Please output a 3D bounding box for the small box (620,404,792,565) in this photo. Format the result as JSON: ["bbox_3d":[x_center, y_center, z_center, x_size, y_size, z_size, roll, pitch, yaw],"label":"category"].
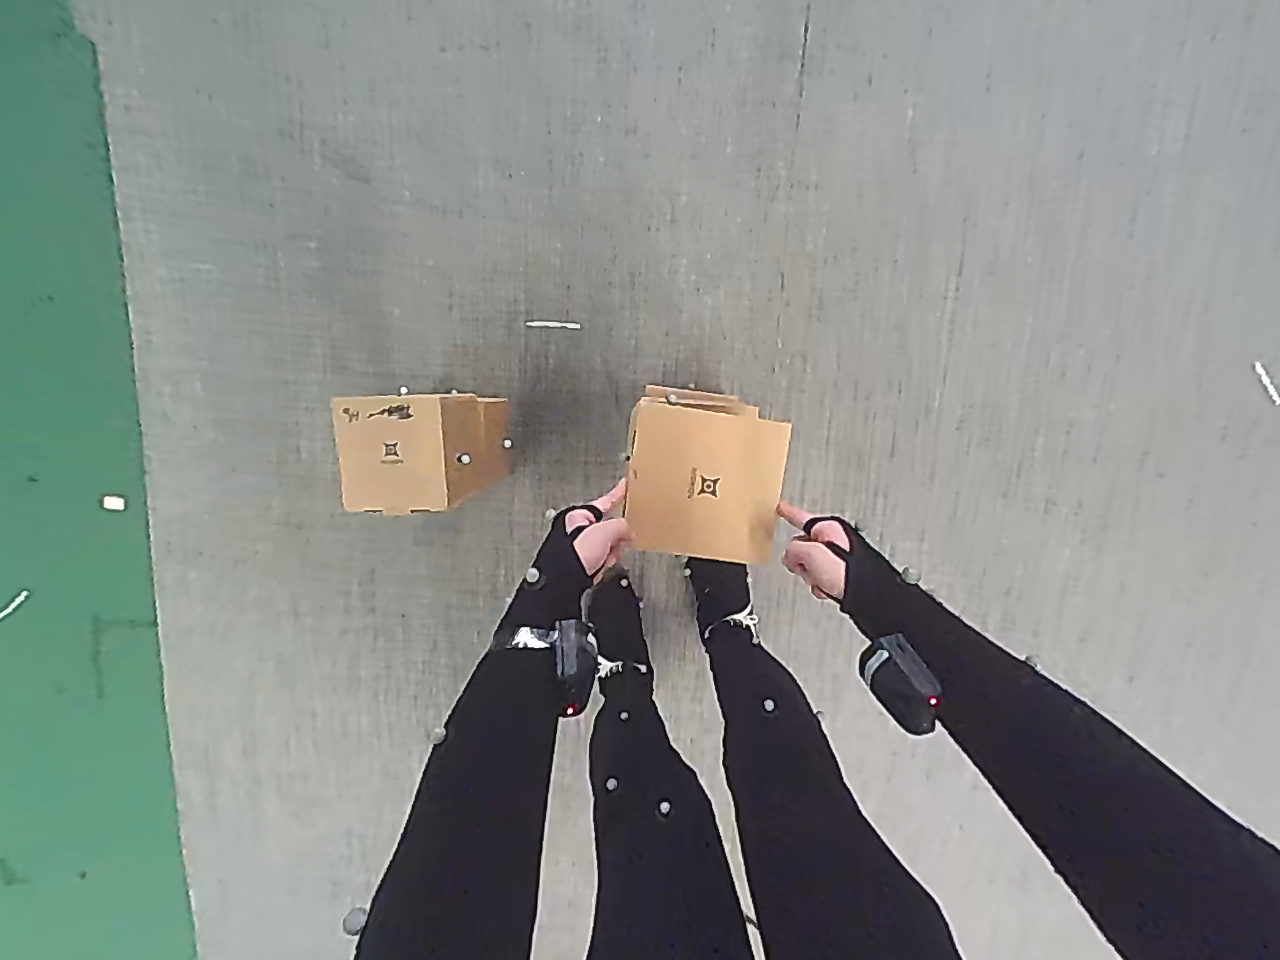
[{"bbox_3d":[0.072,-0.001,0.685,0.179,0.176,0.168,7,94,-2],"label":"small box"}]

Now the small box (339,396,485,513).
[{"bbox_3d":[-0.364,-0.049,0.896,0.168,0.176,0.179,-1,100,1],"label":"small box"}]

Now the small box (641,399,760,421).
[{"bbox_3d":[0.086,-0.044,0.883,0.179,0.176,0.168,4,100,0],"label":"small box"}]

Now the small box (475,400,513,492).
[{"bbox_3d":[-0.356,-0.073,1.058,0.179,0.176,0.168,2,99,0],"label":"small box"}]
